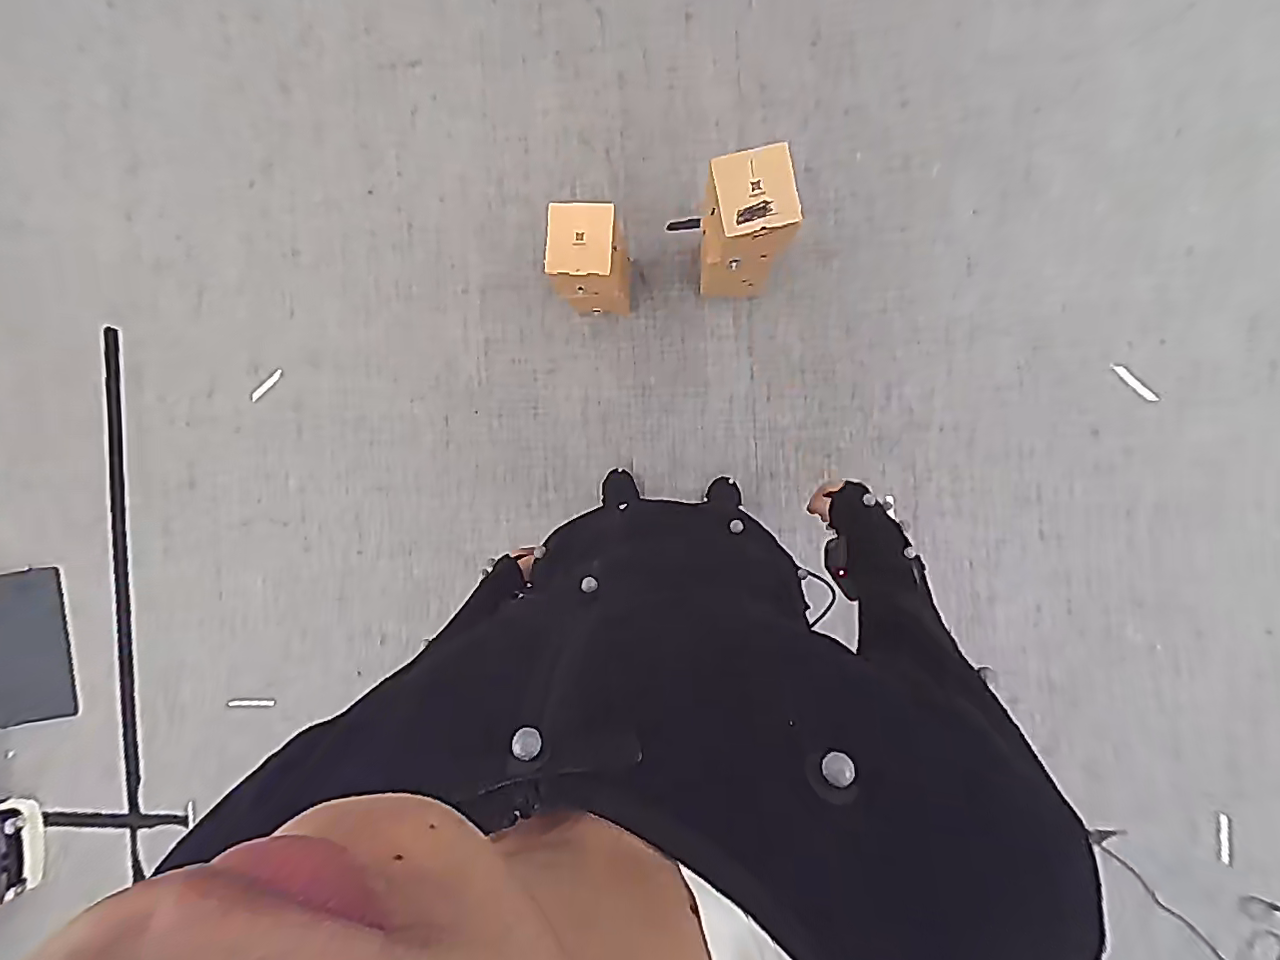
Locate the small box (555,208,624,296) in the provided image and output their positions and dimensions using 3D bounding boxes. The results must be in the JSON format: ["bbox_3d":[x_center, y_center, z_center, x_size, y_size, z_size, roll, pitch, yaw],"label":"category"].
[{"bbox_3d":[-0.138,-0.621,1.488,0.168,0.176,0.179,1,92,6],"label":"small box"}]

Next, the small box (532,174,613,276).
[{"bbox_3d":[-0.160,-0.621,1.329,0.168,0.176,0.179,3,92,5],"label":"small box"}]

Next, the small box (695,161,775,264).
[{"bbox_3d":[0.223,-0.643,1.302,0.168,0.176,0.179,-4,91,4],"label":"small box"}]

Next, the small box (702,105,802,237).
[{"bbox_3d":[0.227,-0.633,1.136,0.168,0.176,0.179,-11,91,3],"label":"small box"}]
